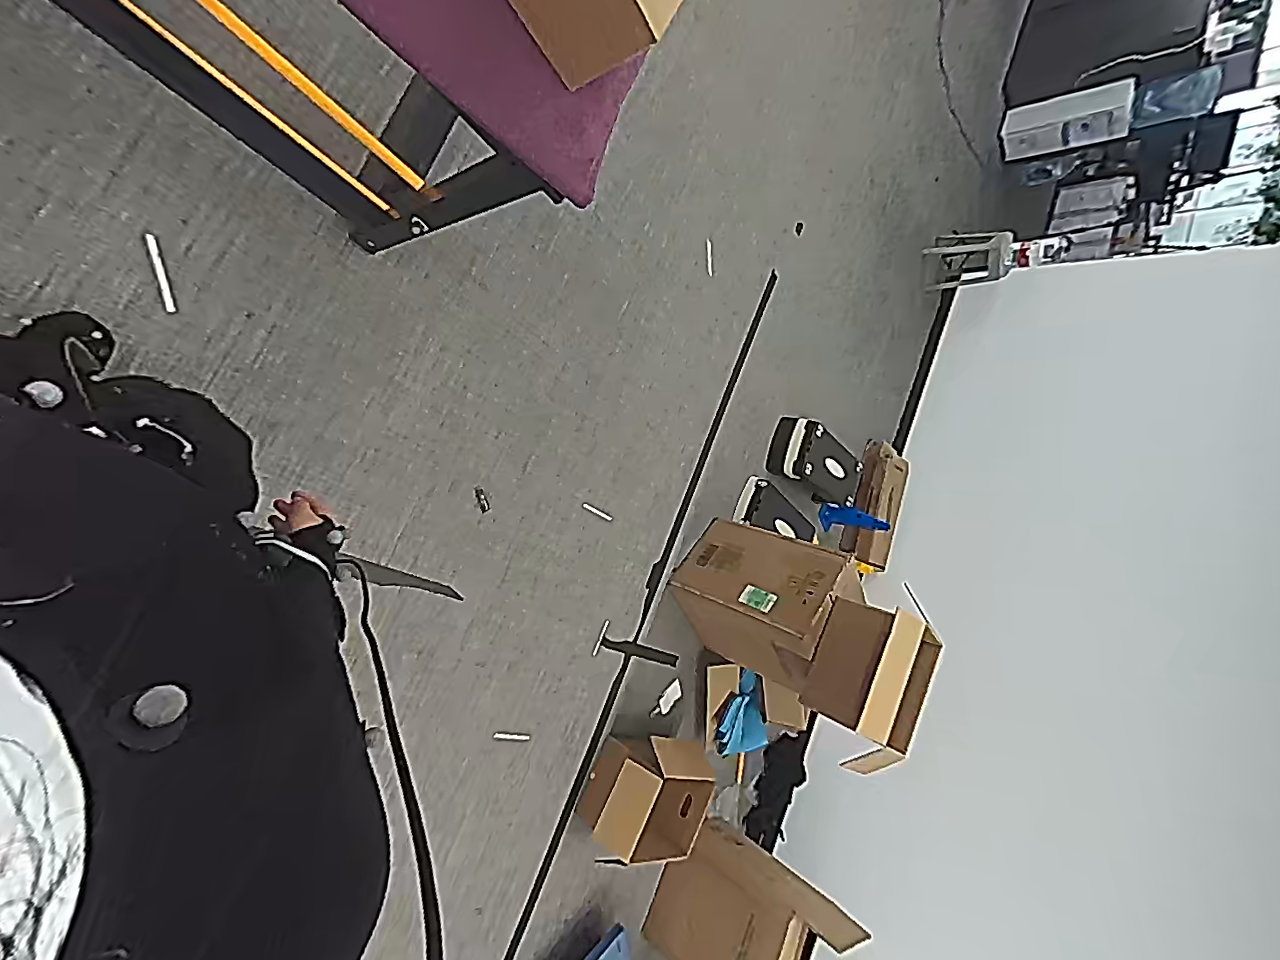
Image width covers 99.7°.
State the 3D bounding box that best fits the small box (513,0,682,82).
[{"bbox_3d":[-0.054,-0.630,0.642,0.179,0.176,0.168,40,70,-44],"label":"small box"}]
